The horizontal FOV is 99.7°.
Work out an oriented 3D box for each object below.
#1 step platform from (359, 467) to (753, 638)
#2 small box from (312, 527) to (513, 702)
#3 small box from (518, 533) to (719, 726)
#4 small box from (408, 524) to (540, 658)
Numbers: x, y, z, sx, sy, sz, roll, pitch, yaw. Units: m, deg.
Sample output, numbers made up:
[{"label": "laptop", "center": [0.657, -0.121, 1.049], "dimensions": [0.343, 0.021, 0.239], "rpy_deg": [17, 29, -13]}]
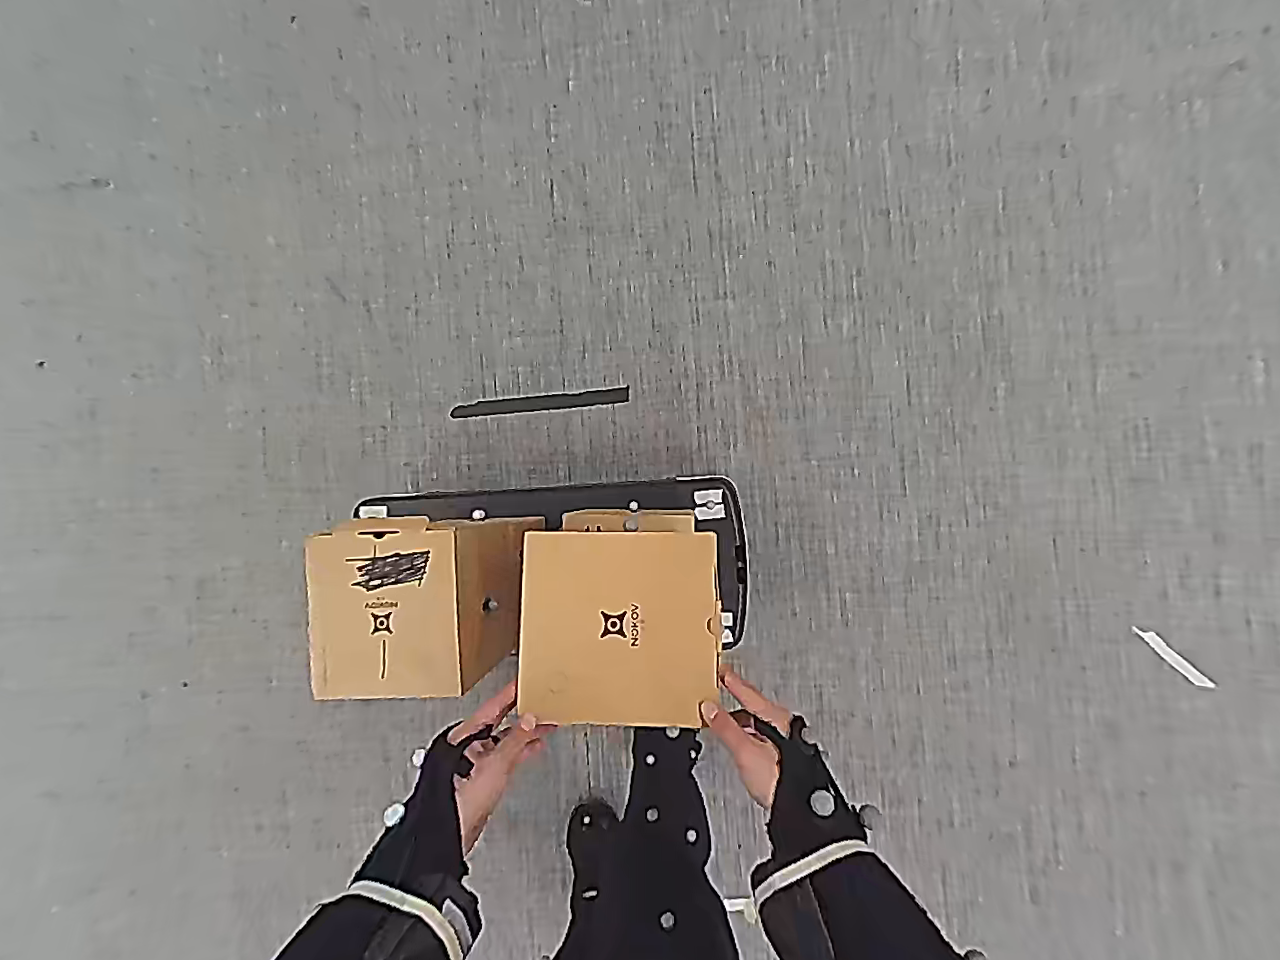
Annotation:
[{"label": "step platform", "center": [-0.143, 0.138, 0.973], "dimensions": [0.684, 0.204, 0.286], "rpy_deg": [-4, 88, 5]}, {"label": "small box", "center": [-0.256, 0.147, 0.643], "dimensions": [0.168, 0.176, 0.179], "rpy_deg": [-3, 88, 5]}, {"label": "small box", "center": [-0.016, 0.147, 0.556], "dimensions": [0.179, 0.176, 0.168], "rpy_deg": [0, 78, 1]}, {"label": "small box", "center": [-0.240, 0.155, 0.806], "dimensions": [0.168, 0.176, 0.179], "rpy_deg": [-2, 88, 5]}]
